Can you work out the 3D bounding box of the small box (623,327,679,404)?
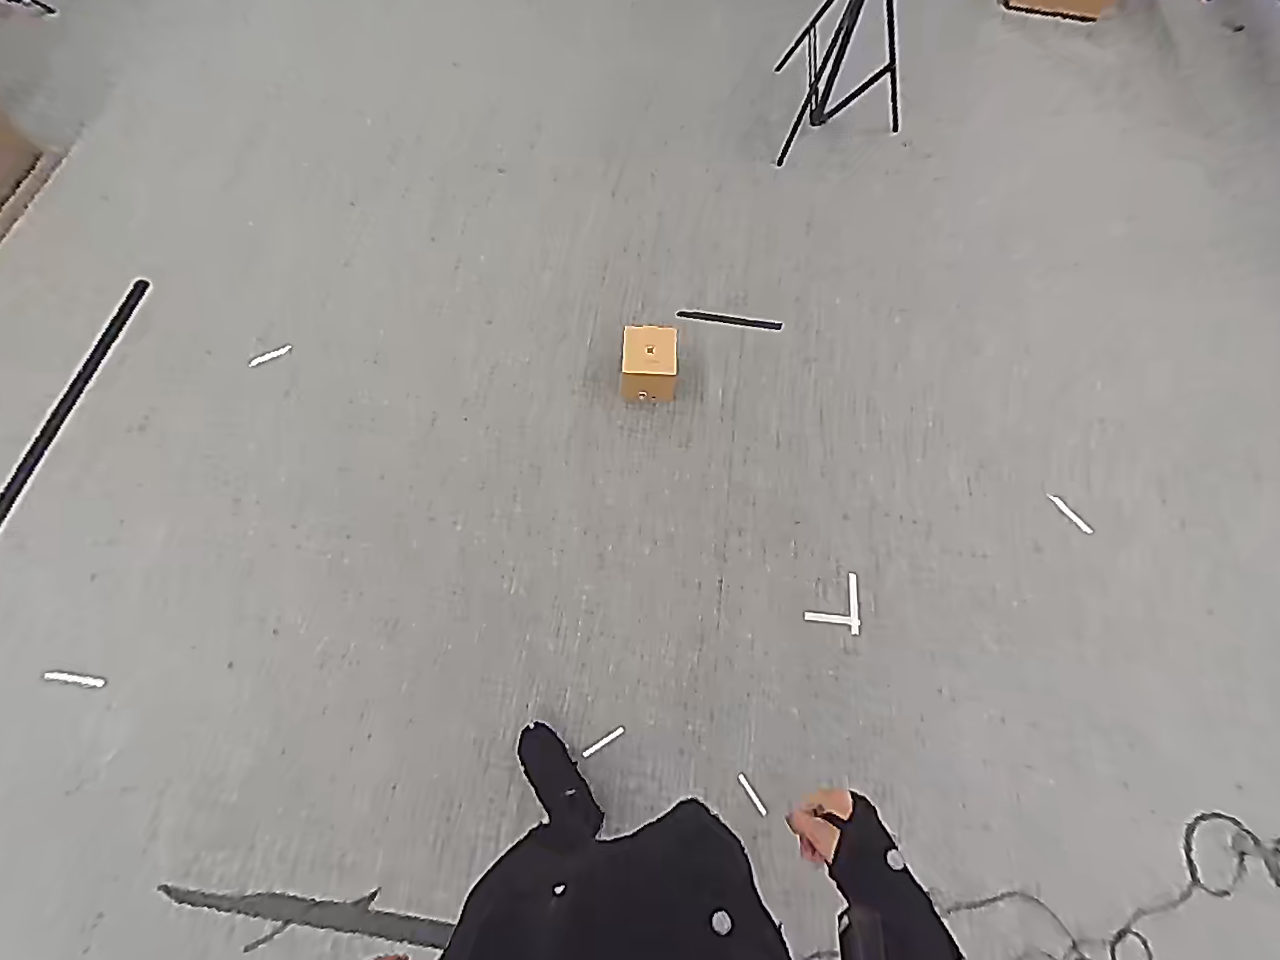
[{"bbox_3d":[0.032,-0.363,1.728,0.168,0.176,0.179,3,68,-1],"label":"small box"}]
